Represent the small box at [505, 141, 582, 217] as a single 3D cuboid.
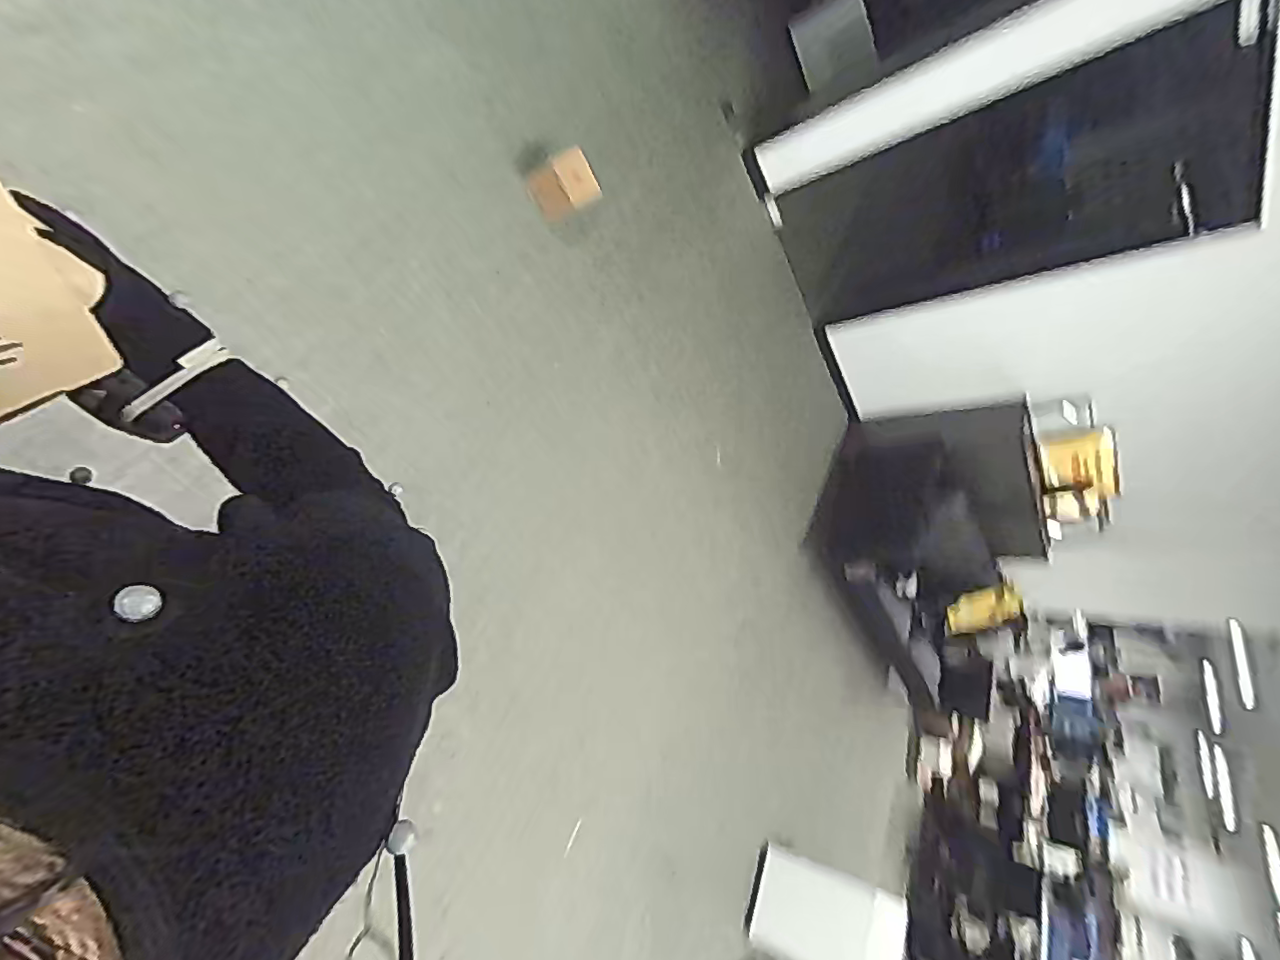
[{"bbox_3d":[-0.348,-1.080,1.943,0.179,0.176,0.168,-54,127,-36],"label":"small box"}]
